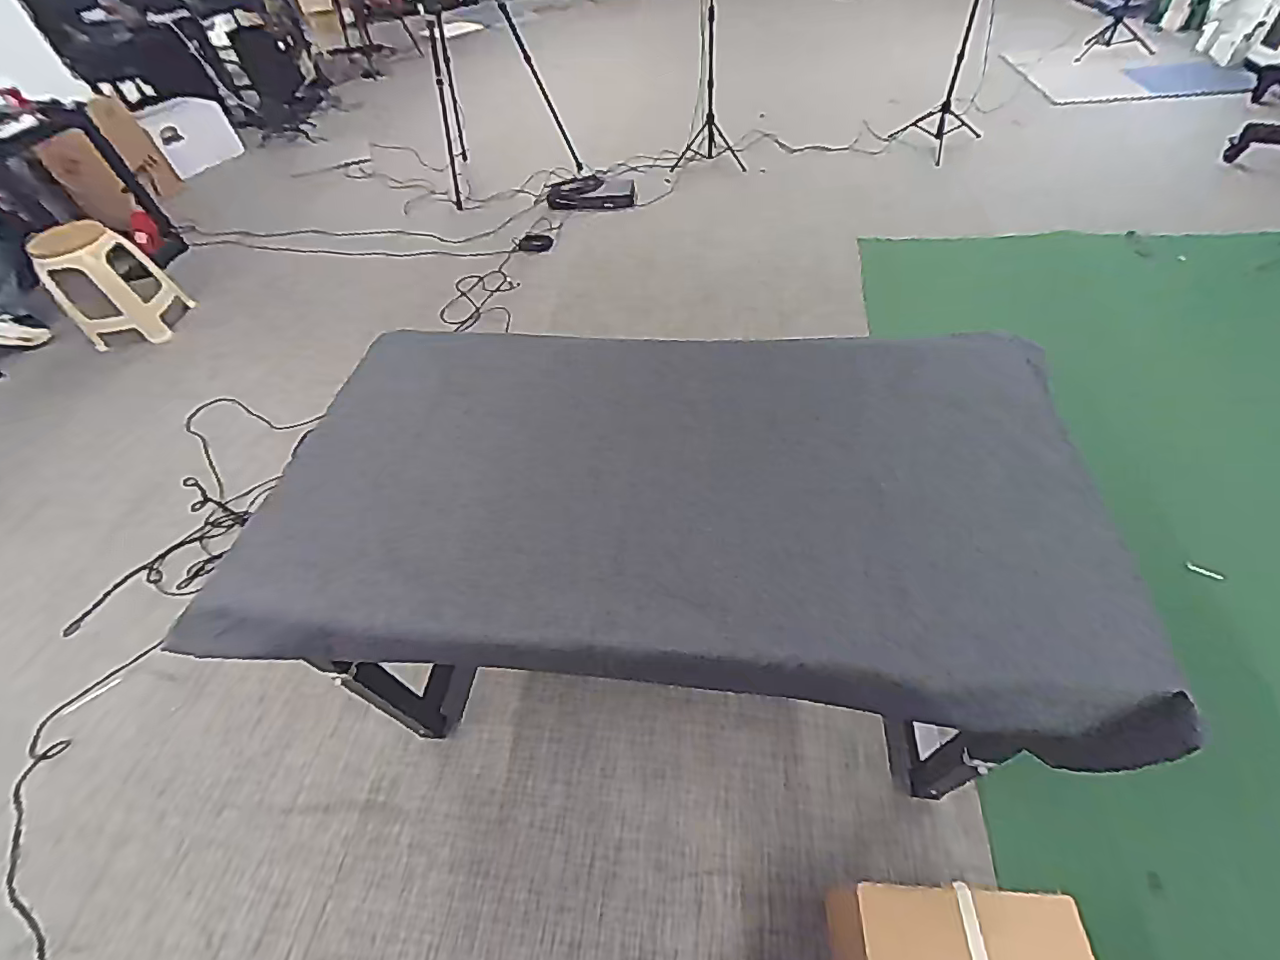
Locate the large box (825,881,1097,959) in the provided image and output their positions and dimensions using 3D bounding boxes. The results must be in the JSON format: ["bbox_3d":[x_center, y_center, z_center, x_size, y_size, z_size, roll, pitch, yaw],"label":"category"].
[{"bbox_3d":[0.488,0.855,0.805,0.320,0.320,0.408,-1,51,6],"label":"large box"}]
